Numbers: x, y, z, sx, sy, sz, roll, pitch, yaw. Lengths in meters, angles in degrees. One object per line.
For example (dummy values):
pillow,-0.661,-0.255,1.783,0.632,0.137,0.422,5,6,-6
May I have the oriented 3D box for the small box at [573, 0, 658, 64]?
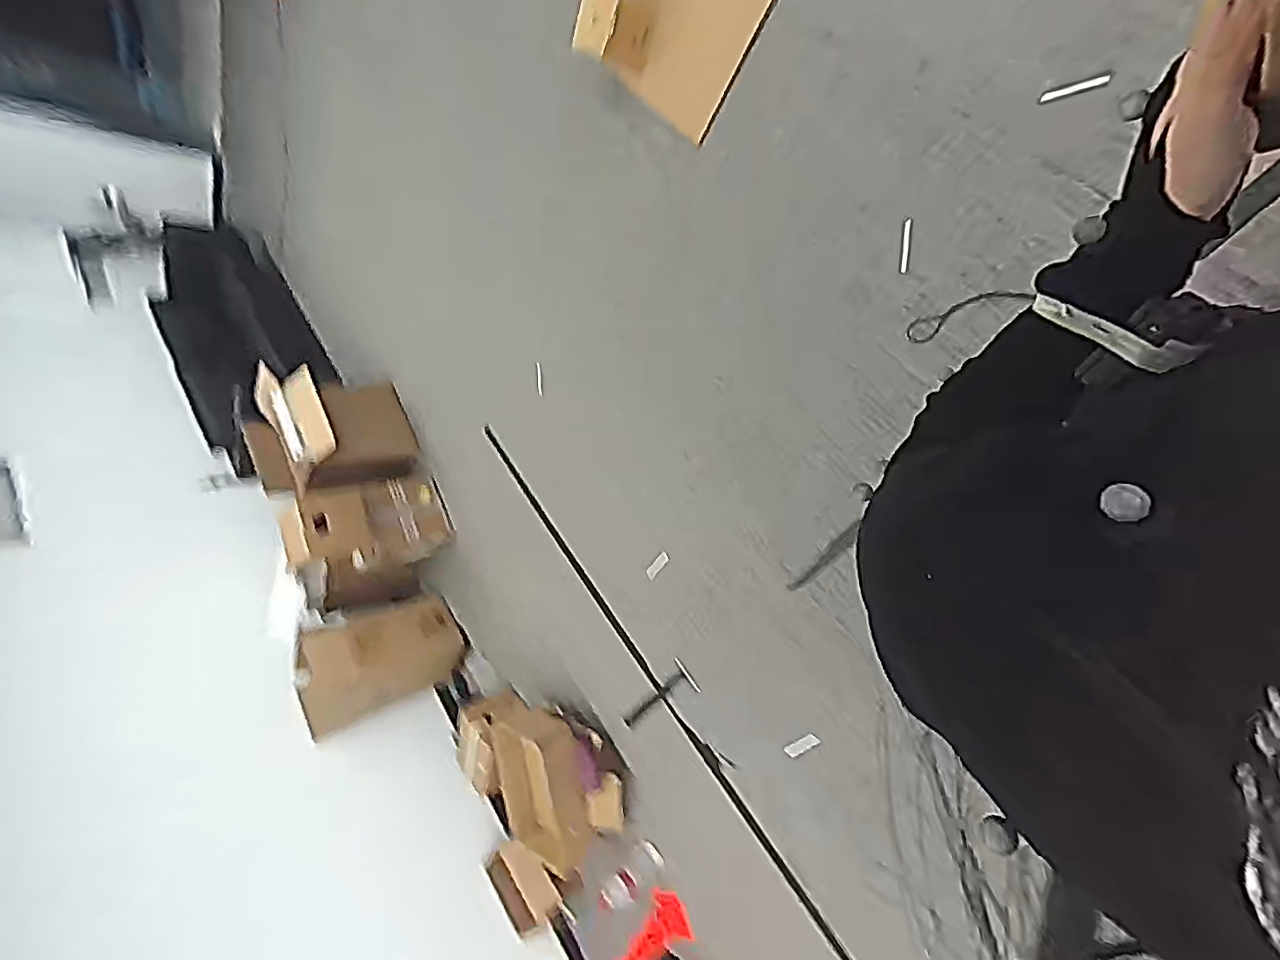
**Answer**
small box,-0.078,-1.465,1.720,0.179,0.176,0.168,44,128,27
